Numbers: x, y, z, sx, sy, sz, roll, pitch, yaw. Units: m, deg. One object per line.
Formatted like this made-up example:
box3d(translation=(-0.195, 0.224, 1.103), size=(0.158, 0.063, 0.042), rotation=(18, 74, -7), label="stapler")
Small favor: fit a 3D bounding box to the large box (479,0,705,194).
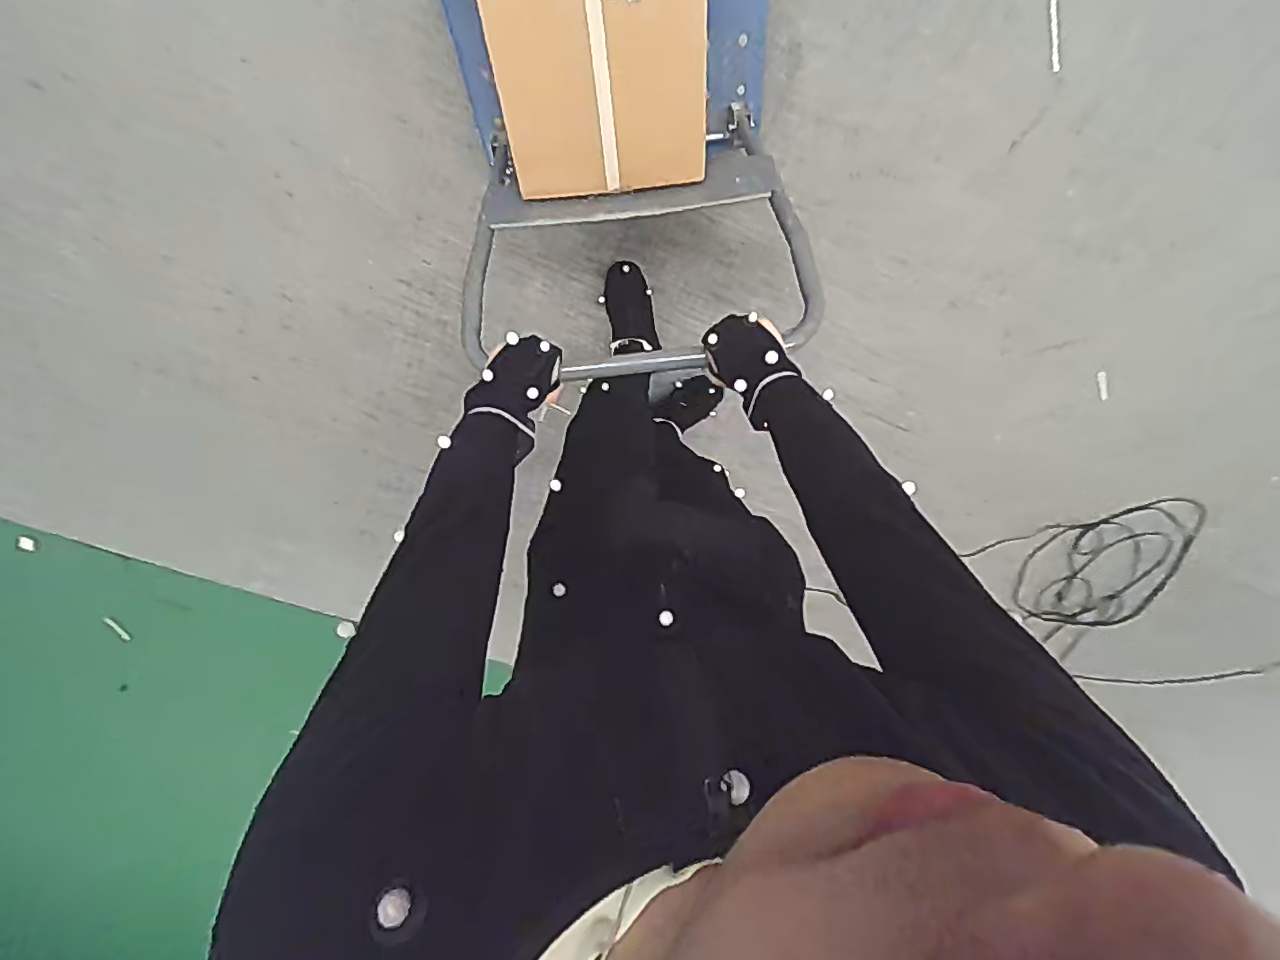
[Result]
box3d(translation=(-0.069, -0.747, 0.880), size=(0.320, 0.320, 0.408), rotation=(-6, 137, 2), label="large box")
